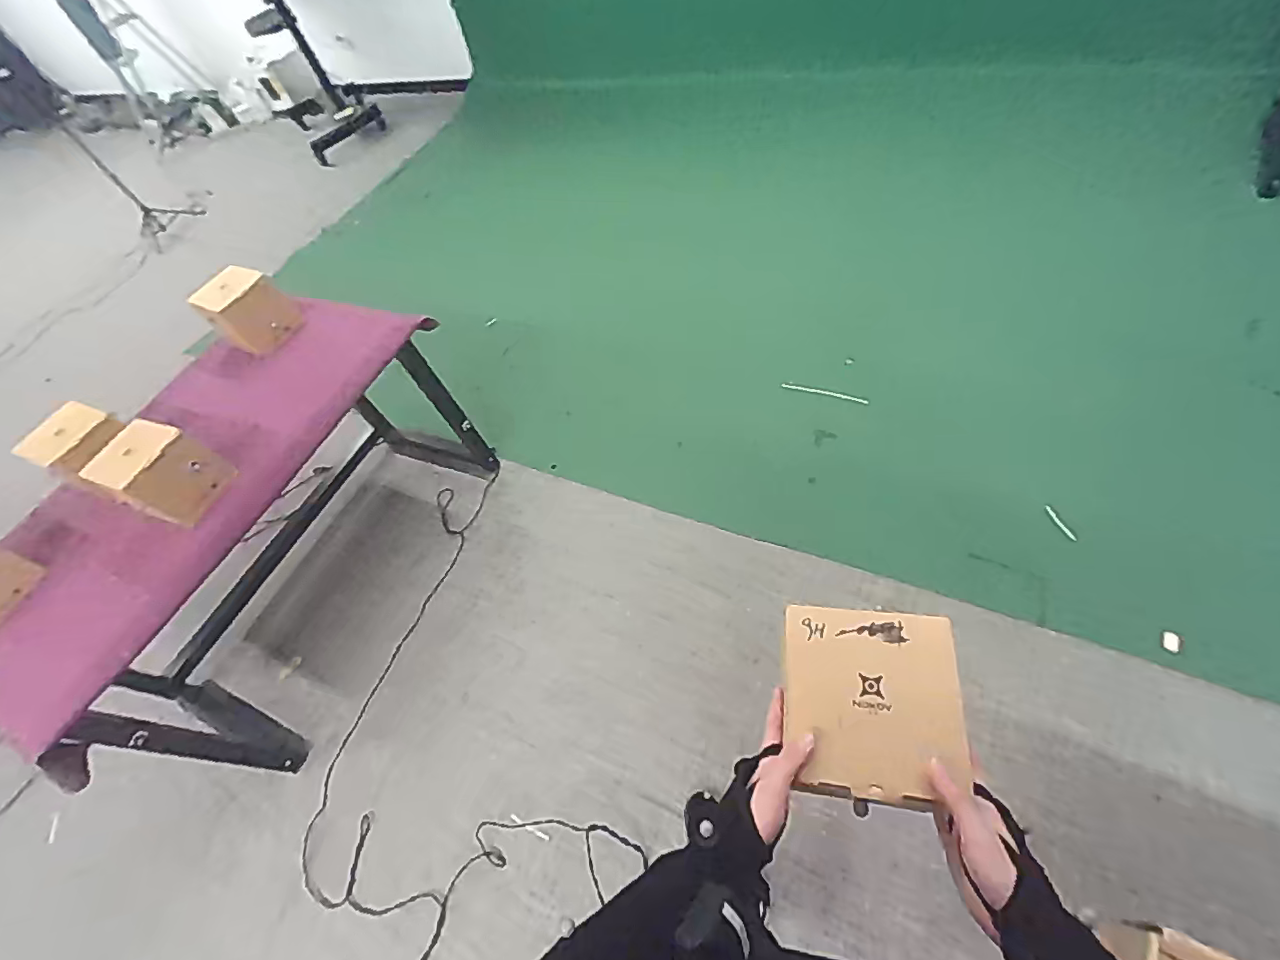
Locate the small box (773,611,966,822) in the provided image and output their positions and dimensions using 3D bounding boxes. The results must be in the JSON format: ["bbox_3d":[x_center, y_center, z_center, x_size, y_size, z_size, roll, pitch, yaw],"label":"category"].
[{"bbox_3d":[0.235,0.260,0.597,0.168,0.176,0.179,2,60,14],"label":"small box"}]

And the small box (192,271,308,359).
[{"bbox_3d":[-1.121,-0.473,1.564,0.179,0.176,0.168,20,65,24],"label":"small box"}]

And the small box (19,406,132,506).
[{"bbox_3d":[-1.339,-0.056,1.340,0.179,0.176,0.168,15,61,22],"label":"small box"}]

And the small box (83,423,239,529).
[{"bbox_3d":[-1.083,-0.005,1.239,0.179,0.176,0.168,12,60,23],"label":"small box"}]
